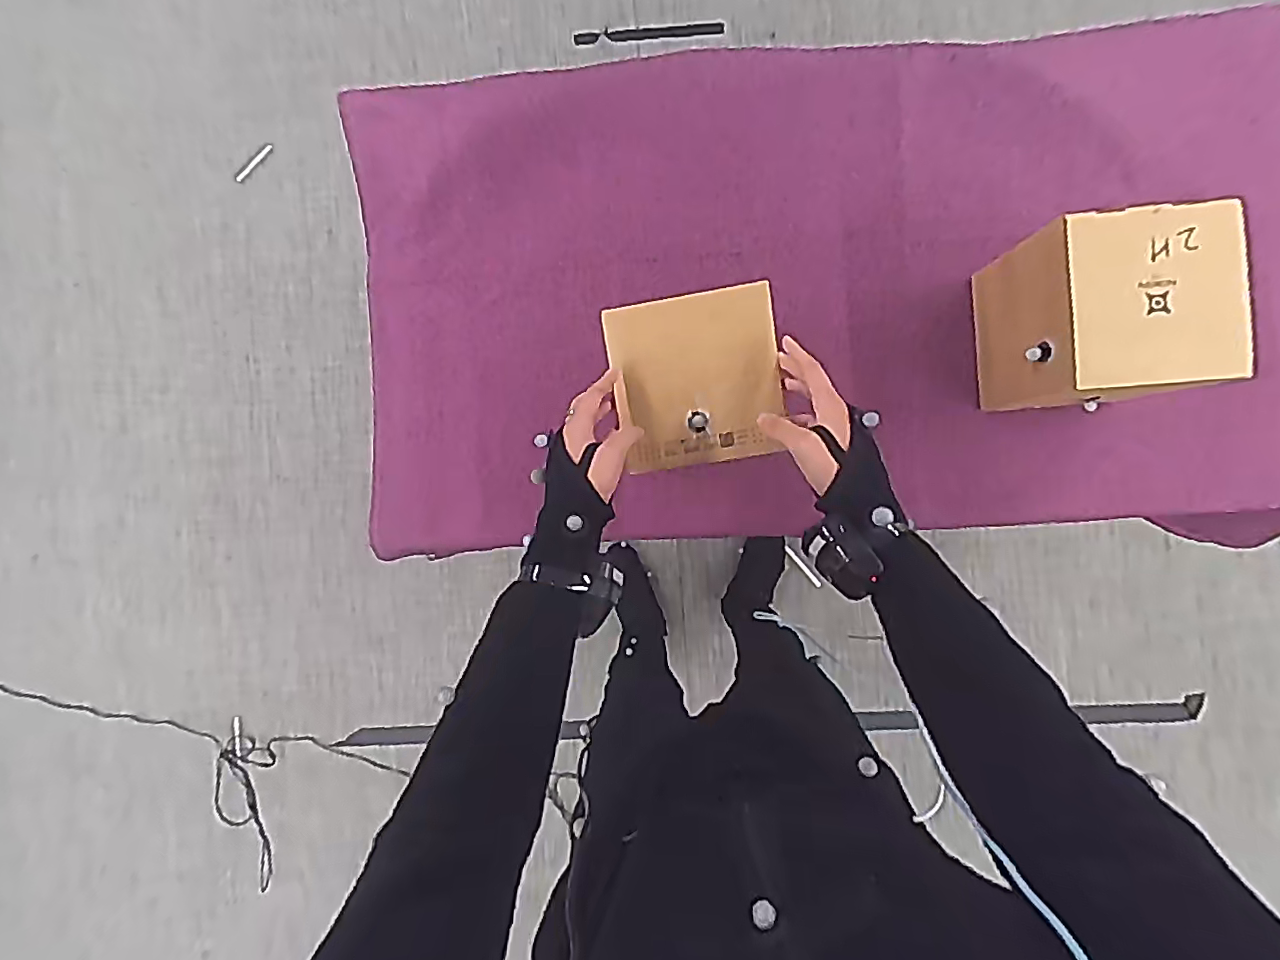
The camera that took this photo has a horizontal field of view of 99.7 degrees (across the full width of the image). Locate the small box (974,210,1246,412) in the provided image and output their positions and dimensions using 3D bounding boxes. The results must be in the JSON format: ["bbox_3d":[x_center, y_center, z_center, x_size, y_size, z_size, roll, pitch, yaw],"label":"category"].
[{"bbox_3d":[0.506,-0.172,0.608,0.168,0.176,0.179,-3,90,3],"label":"small box"}]
